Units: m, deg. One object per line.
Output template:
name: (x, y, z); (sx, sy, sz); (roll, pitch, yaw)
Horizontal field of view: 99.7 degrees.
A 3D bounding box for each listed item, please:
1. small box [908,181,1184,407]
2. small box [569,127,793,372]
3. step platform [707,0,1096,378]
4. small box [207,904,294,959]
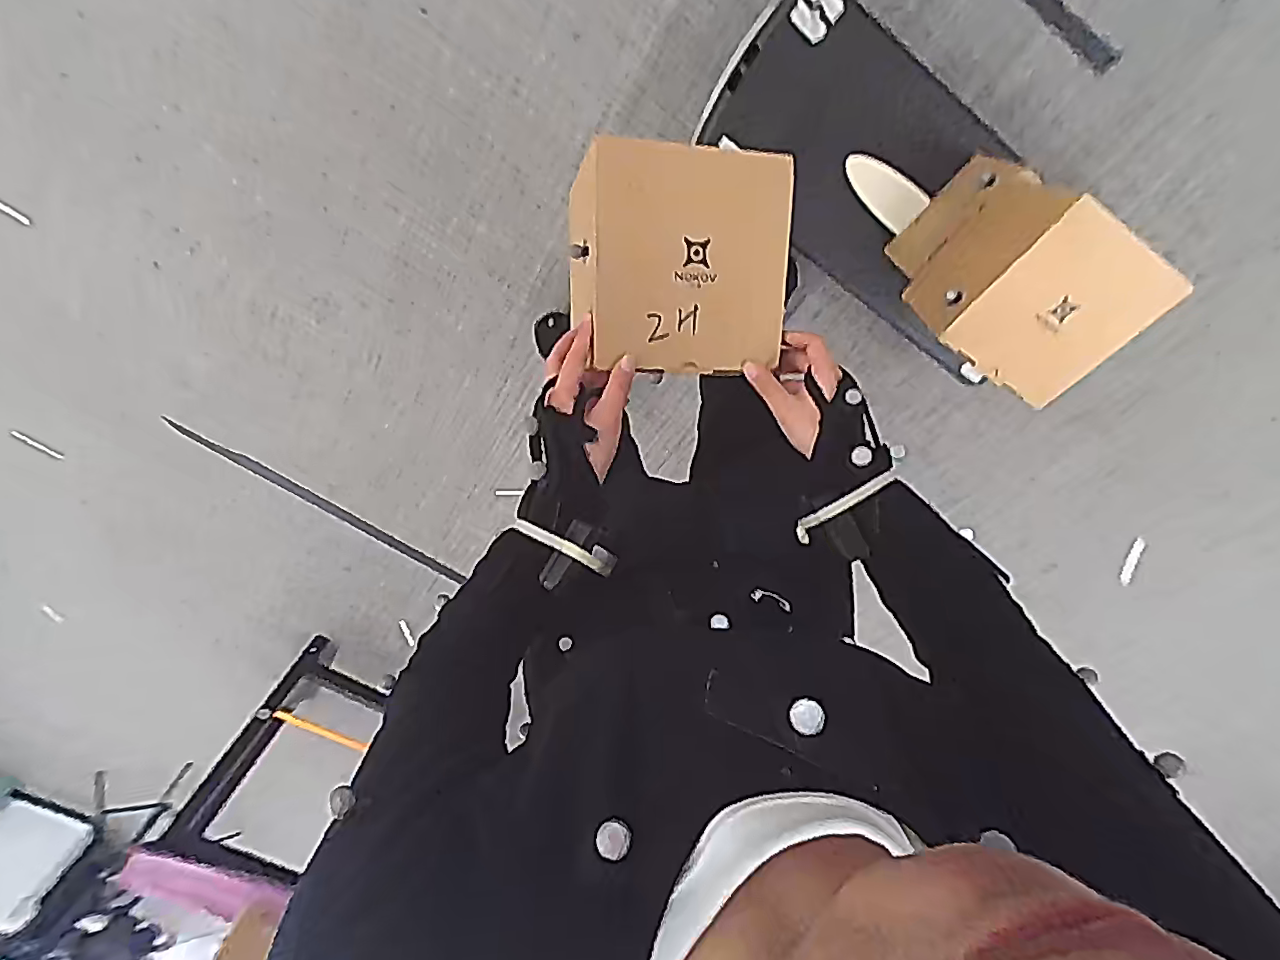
small box: (0.460, -0.228, 0.649); (0.168, 0.176, 0.179); (30, 125, -12)
small box: (0.023, -0.196, 0.511); (0.168, 0.176, 0.179); (-1, 105, -13)
step platform: (0.447, -0.470, 0.897); (0.684, 0.204, 0.286); (33, 123, -12)
small box: (-1.169, 1.400, 1.606); (0.168, 0.176, 0.179); (34, 123, -14)
